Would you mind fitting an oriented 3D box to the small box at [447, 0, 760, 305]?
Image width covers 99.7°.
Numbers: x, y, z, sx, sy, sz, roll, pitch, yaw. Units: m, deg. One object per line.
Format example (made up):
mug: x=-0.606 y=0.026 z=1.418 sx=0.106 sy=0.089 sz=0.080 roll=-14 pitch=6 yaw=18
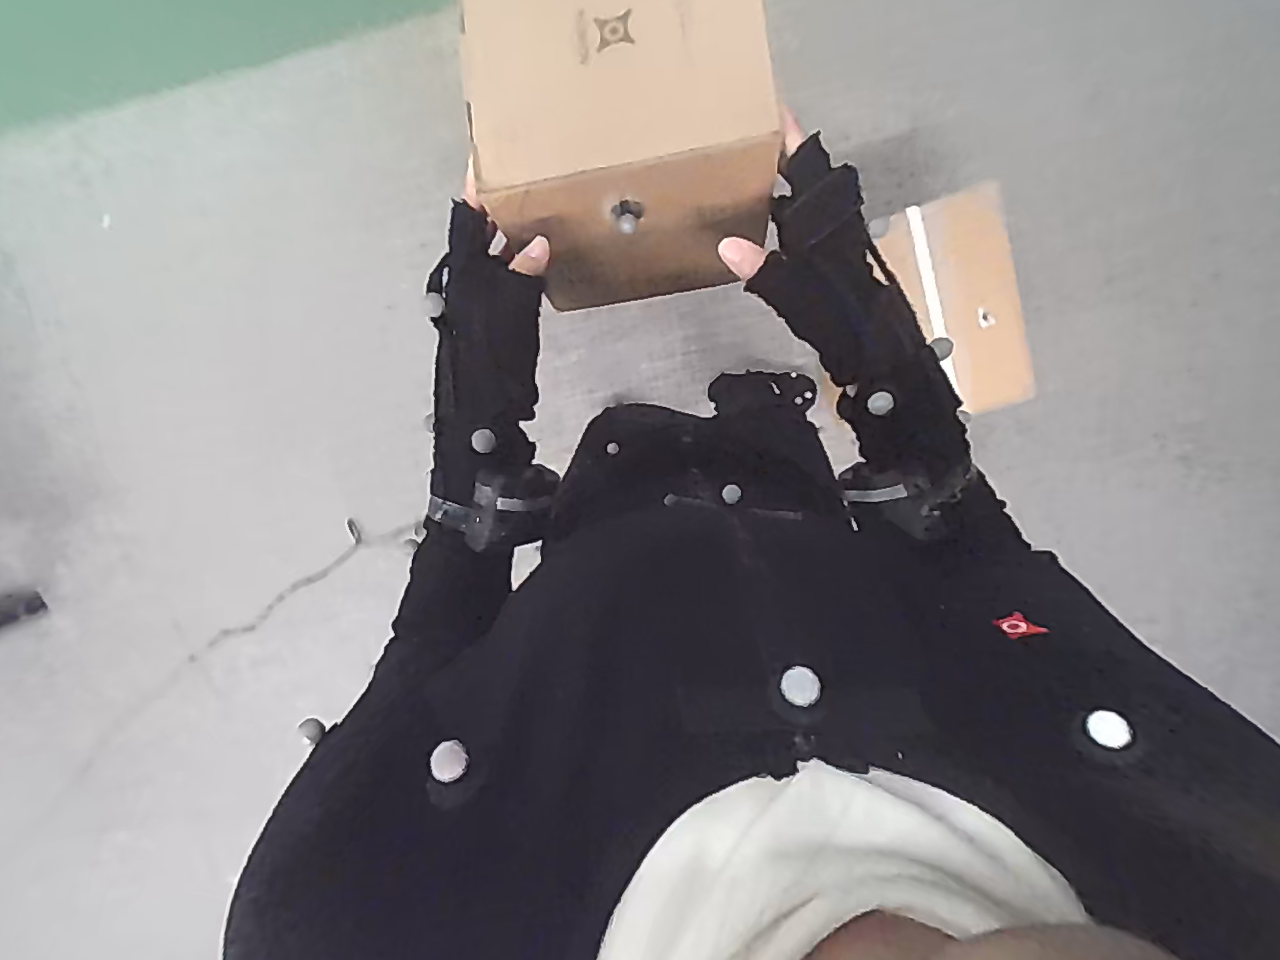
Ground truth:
small box: x=-0.016 y=-0.247 z=0.395 sx=0.179 sy=0.176 sz=0.168 roll=-9 pitch=83 yaw=7
